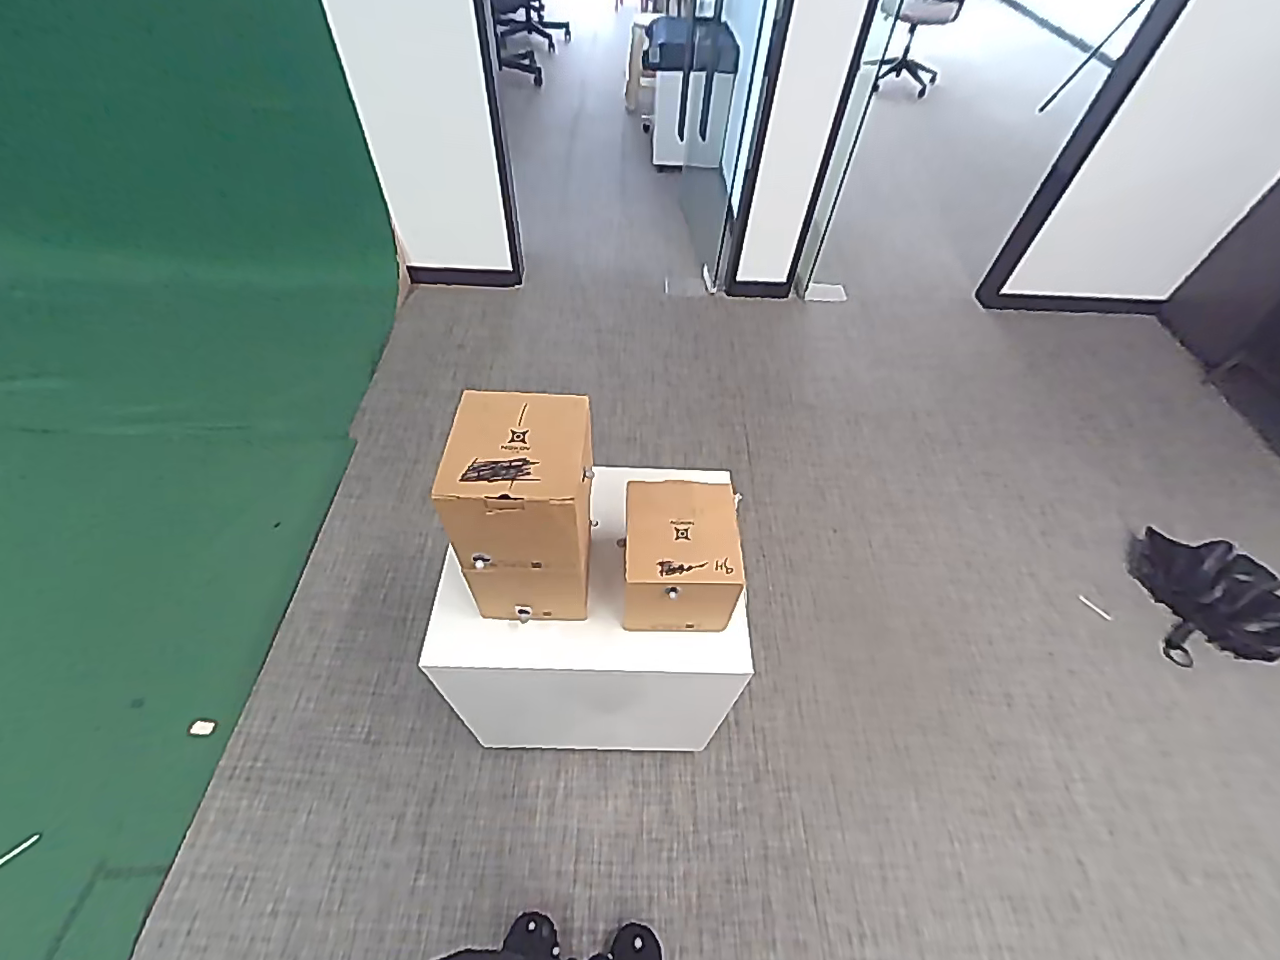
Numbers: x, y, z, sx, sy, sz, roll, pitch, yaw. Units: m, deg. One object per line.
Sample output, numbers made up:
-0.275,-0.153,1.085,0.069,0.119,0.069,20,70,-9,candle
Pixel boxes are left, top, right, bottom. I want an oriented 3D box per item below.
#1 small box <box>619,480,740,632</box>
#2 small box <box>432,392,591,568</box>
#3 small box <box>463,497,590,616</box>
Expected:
0.054,0.121,0.856,0.168,0.176,0.179,2,51,-2,small box
-0.157,0.004,0.729,0.168,0.176,0.179,3,50,-1,small box
-0.165,0.096,0.845,0.168,0.176,0.179,0,53,-3,small box
